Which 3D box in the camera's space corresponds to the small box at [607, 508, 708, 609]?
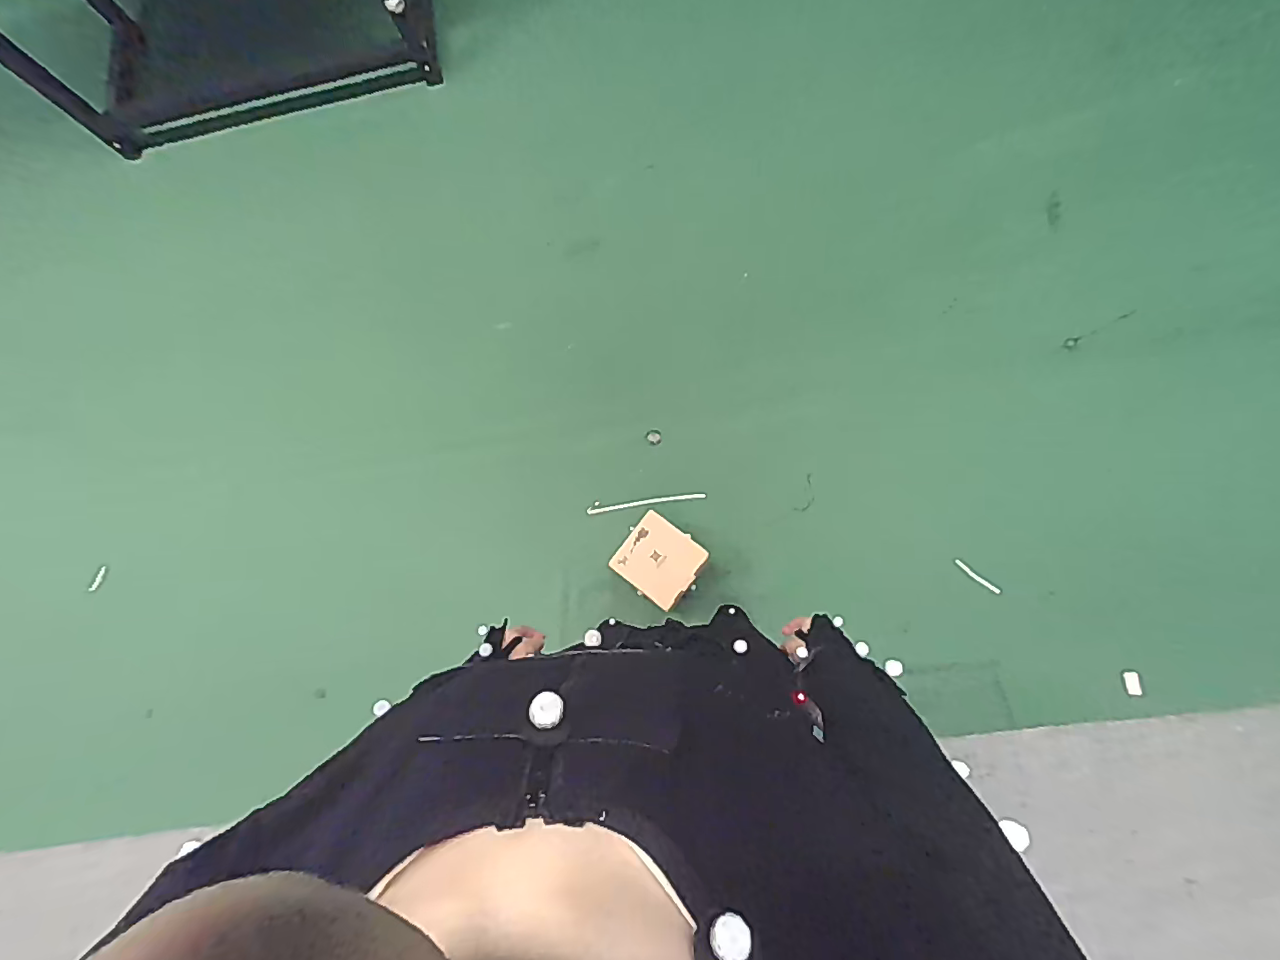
[{"bbox_3d":[0.048,0.191,1.305,0.179,0.176,0.168,37,84,12],"label":"small box"}]
